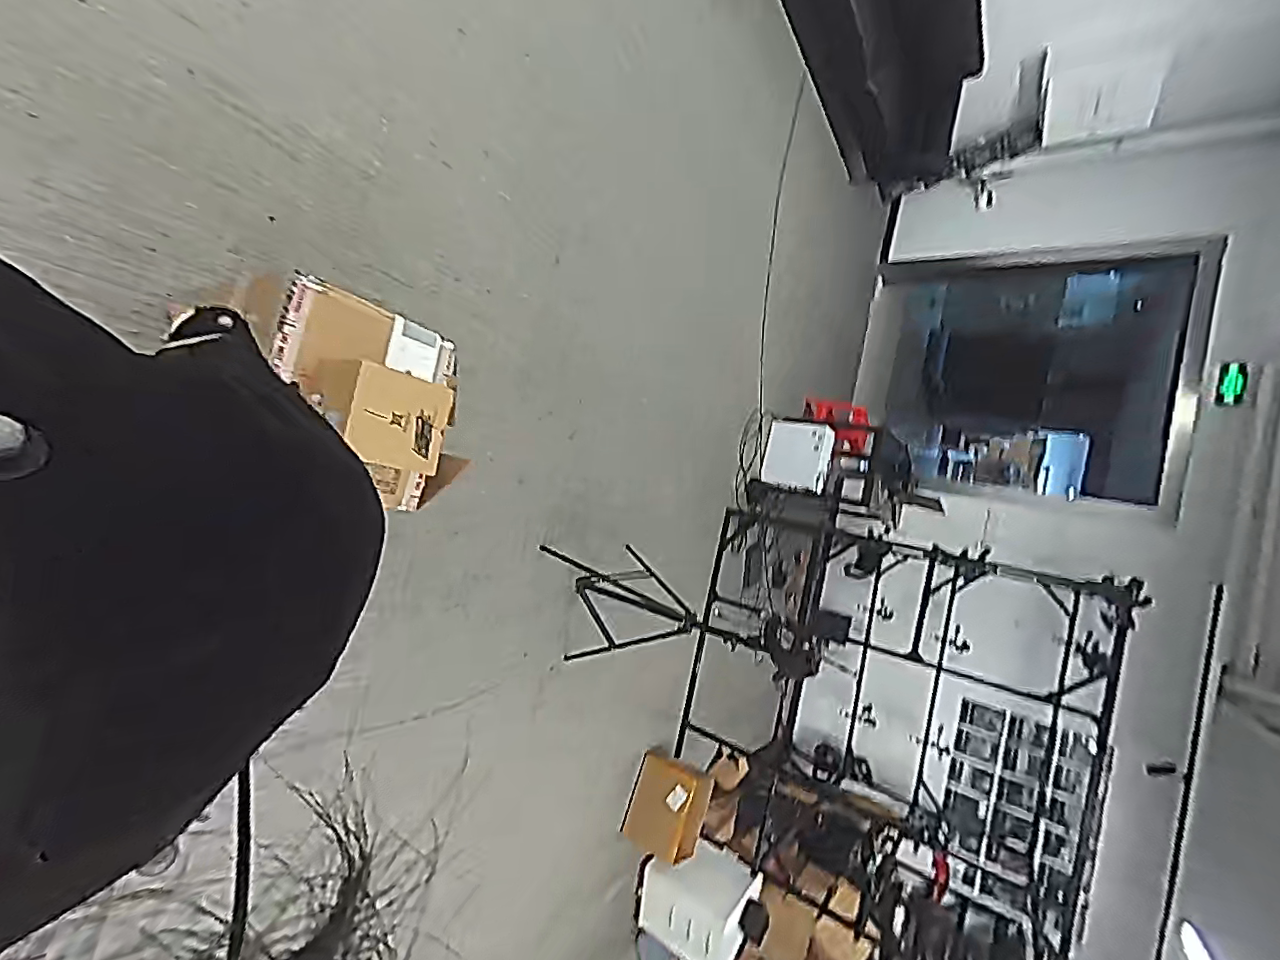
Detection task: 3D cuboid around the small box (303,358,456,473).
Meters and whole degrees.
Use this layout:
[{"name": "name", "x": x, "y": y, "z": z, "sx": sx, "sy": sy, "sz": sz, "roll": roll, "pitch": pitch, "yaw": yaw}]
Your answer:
[{"name": "small box", "x": -0.476, "y": -0.119, "z": 0.990, "sx": 0.179, "sy": 0.176, "sz": 0.168, "roll": 16, "pitch": 85, "yaw": -52}]
